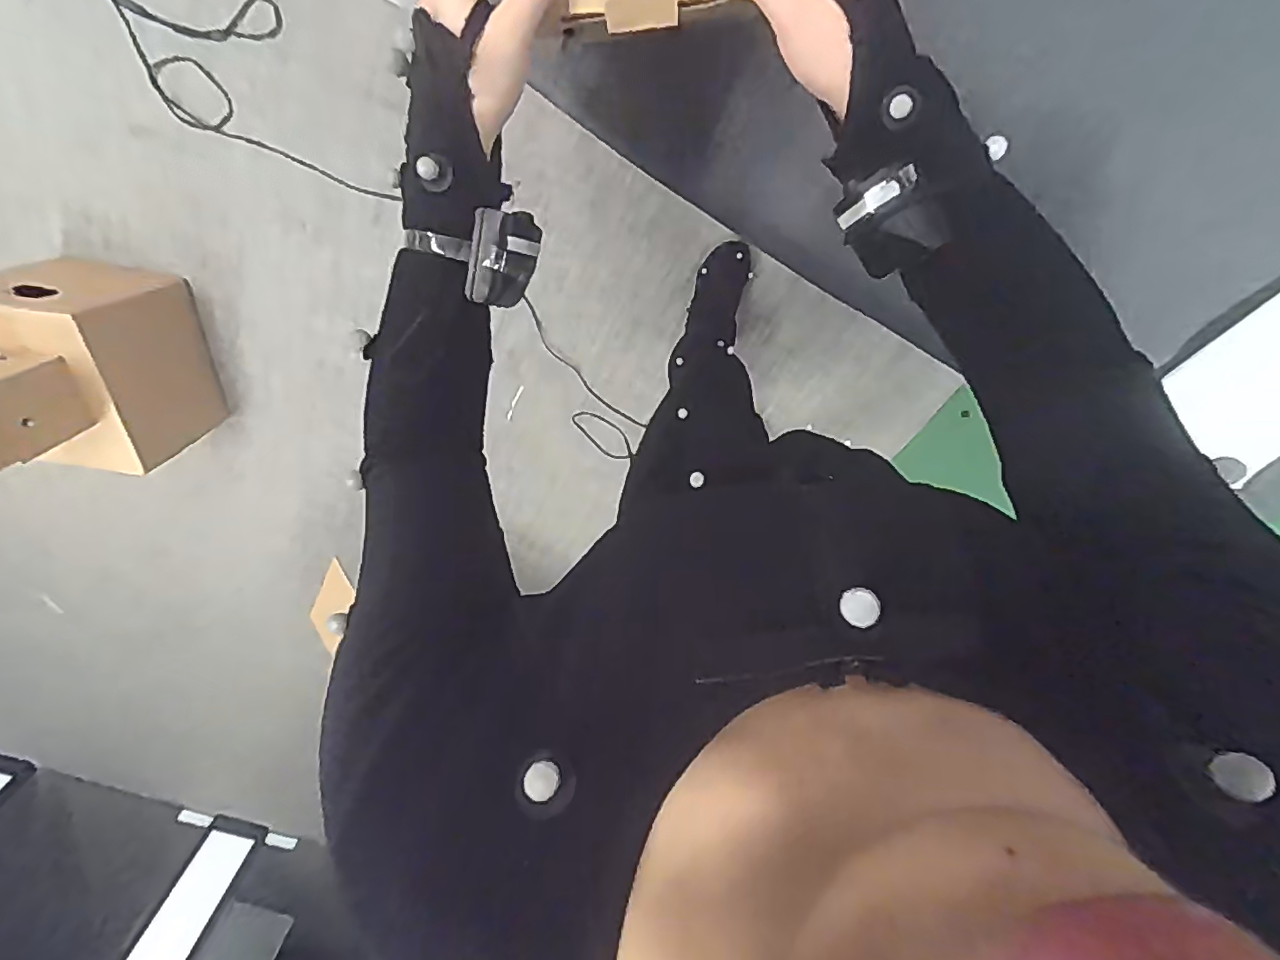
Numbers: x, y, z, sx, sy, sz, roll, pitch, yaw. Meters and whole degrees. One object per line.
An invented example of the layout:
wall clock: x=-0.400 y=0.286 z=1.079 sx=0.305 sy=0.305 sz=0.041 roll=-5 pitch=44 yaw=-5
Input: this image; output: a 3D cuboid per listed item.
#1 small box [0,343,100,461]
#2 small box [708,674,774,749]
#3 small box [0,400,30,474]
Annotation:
small box: x=-1.310 y=-0.166 z=1.136 sx=0.168 sy=0.176 sz=0.179 roll=9 pitch=124 yaw=-3
small box: x=0.361 y=0.835 z=1.958 sx=0.179 sy=0.176 sz=0.168 roll=24 pitch=123 yaw=-10
small box: x=-1.317 y=-0.086 z=0.994 sx=0.168 sy=0.176 sz=0.179 roll=9 pitch=124 yaw=-3
